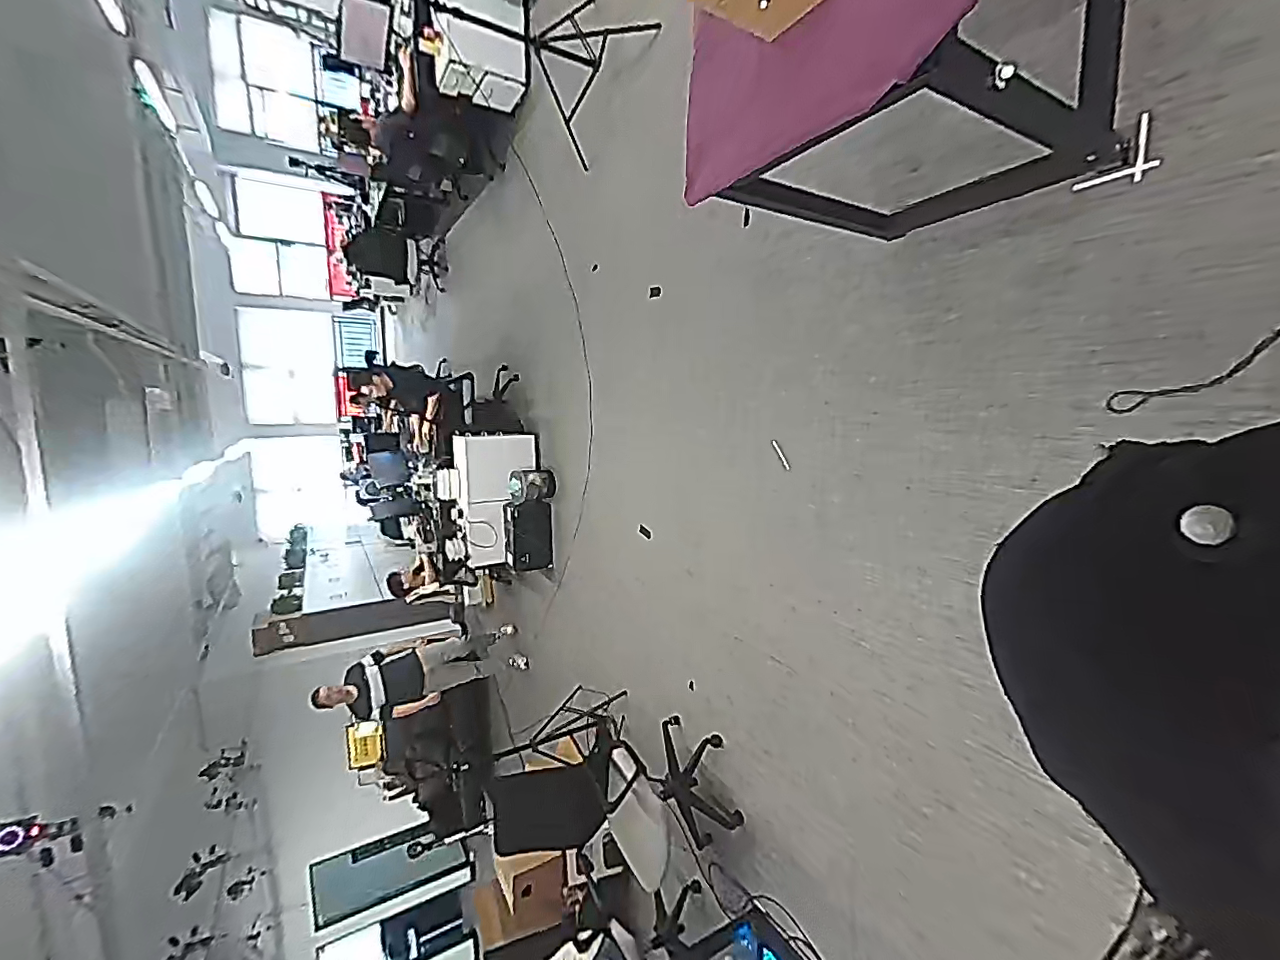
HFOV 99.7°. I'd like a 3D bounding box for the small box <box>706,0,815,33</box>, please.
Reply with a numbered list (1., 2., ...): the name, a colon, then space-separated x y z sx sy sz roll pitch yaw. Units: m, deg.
1. small box: 0.235 -0.938 0.940 0.179 0.176 0.168 14 105 58
